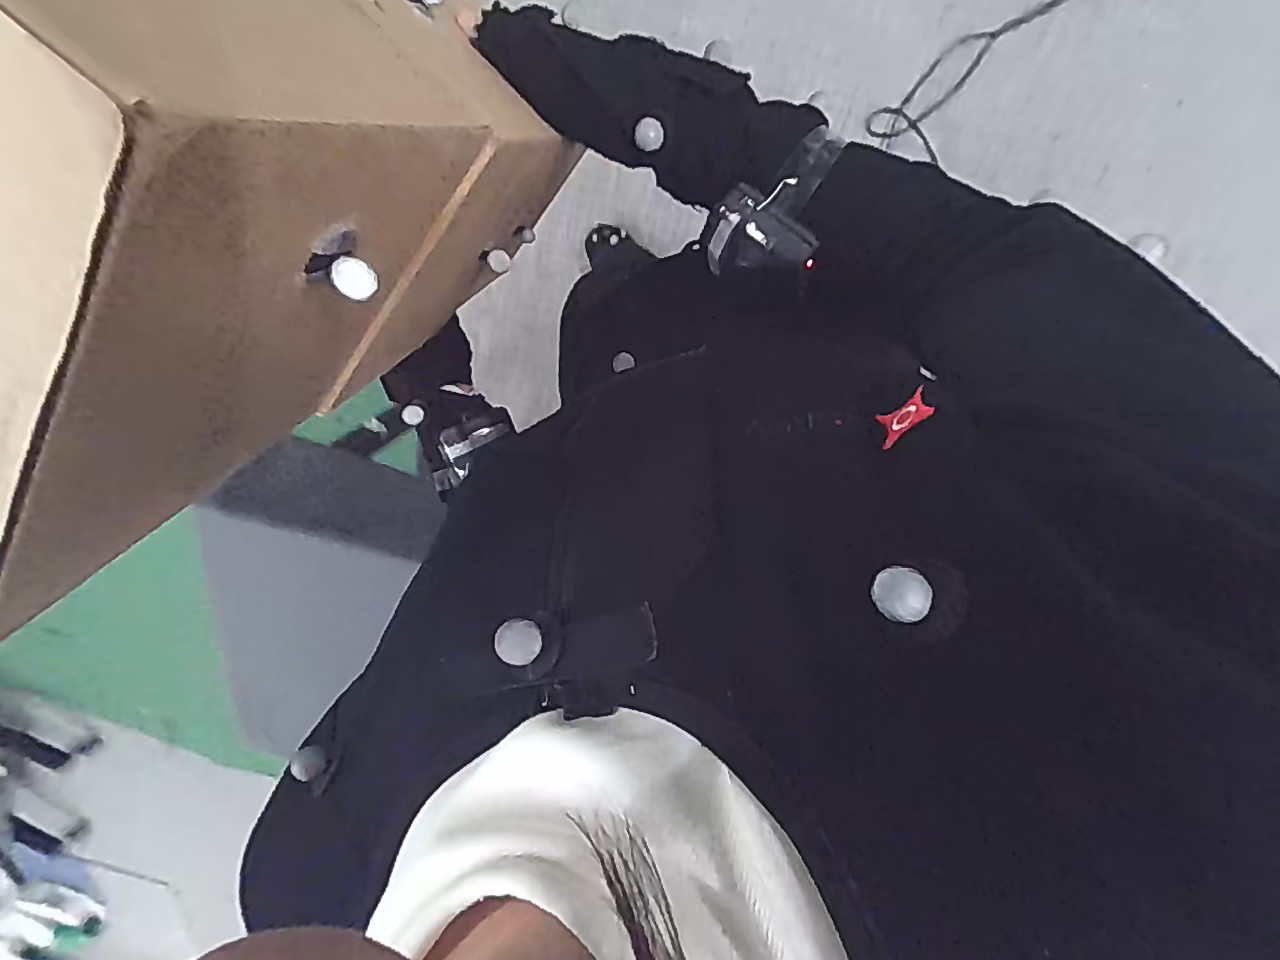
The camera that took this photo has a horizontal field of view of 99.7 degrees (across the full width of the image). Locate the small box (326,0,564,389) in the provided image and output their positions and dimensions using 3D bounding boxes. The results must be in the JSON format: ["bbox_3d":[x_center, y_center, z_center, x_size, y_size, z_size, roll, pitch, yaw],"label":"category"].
[{"bbox_3d":[-0.159,-0.190,0.298,0.168,0.176,0.179,40,117,-18],"label":"small box"}]

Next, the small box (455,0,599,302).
[{"bbox_3d":[-0.147,-0.282,0.433,0.168,0.176,0.179,36,118,-16],"label":"small box"}]

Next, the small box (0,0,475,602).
[{"bbox_3d":[-0.173,-0.106,0.160,0.168,0.176,0.179,40,119,-17],"label":"small box"}]
